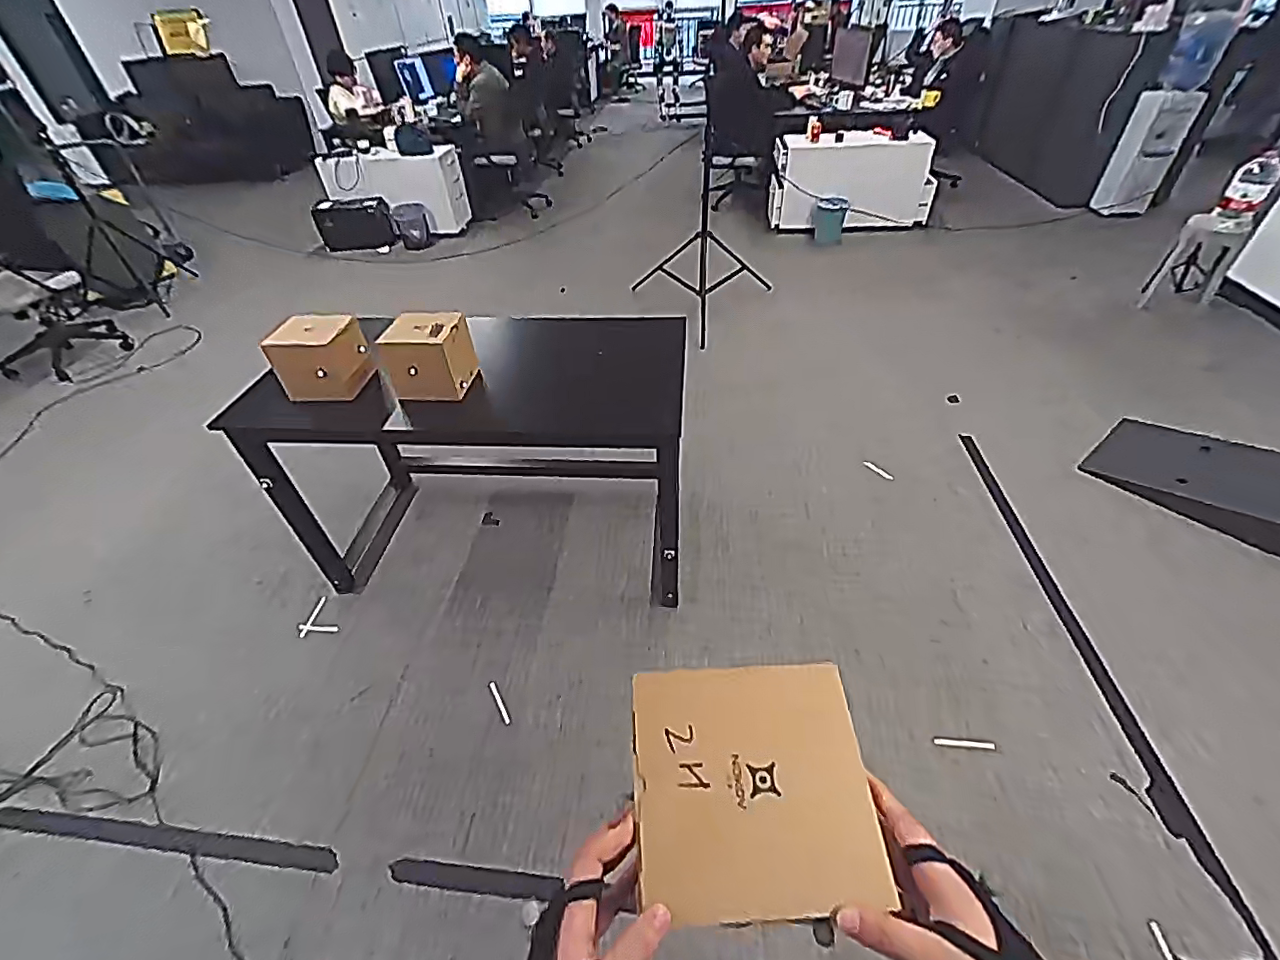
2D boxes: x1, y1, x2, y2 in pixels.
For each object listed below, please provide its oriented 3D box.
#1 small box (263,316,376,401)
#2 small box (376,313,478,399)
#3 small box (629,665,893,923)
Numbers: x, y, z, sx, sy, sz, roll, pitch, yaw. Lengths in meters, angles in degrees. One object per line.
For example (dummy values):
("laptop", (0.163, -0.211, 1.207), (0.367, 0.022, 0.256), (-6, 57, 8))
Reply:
("small box", (-0.844, -0.324, 1.448), (0.179, 0.176, 0.168), (-1, 42, 4))
("small box", (-0.549, -0.325, 1.427), (0.179, 0.176, 0.168), (1, 42, 7))
("small box", (0.081, 0.270, 0.470), (0.179, 0.176, 0.168), (-2, 54, -2))
